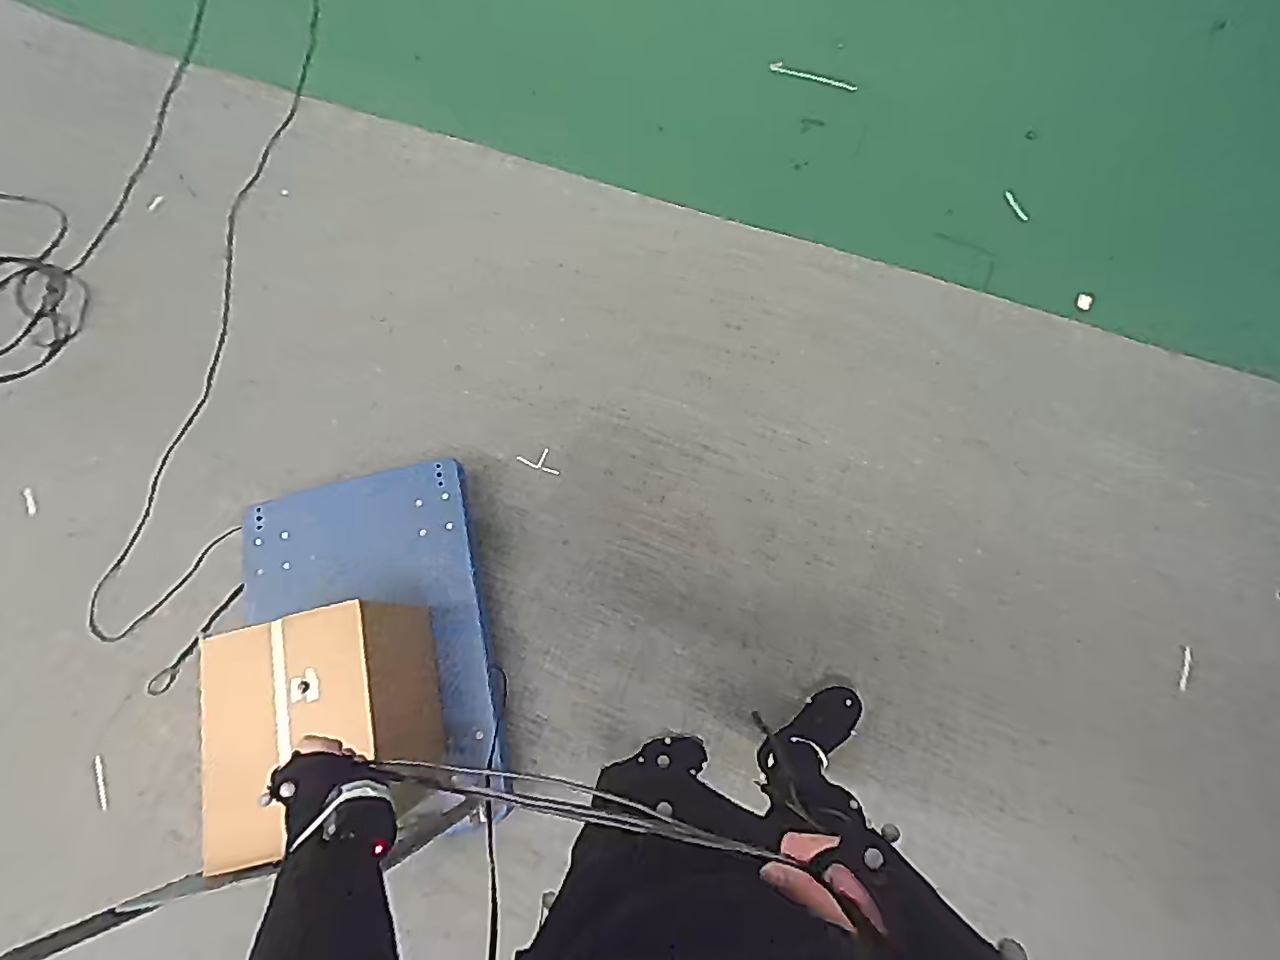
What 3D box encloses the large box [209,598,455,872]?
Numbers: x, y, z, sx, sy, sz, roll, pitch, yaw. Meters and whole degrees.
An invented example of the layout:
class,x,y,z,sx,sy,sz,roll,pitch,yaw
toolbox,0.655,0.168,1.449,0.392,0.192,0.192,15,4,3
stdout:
class,x,y,z,sx,sy,sz,roll,pitch,yaw
large box,-0.615,0.489,1.115,0.320,0.320,0.408,-15,73,-1
